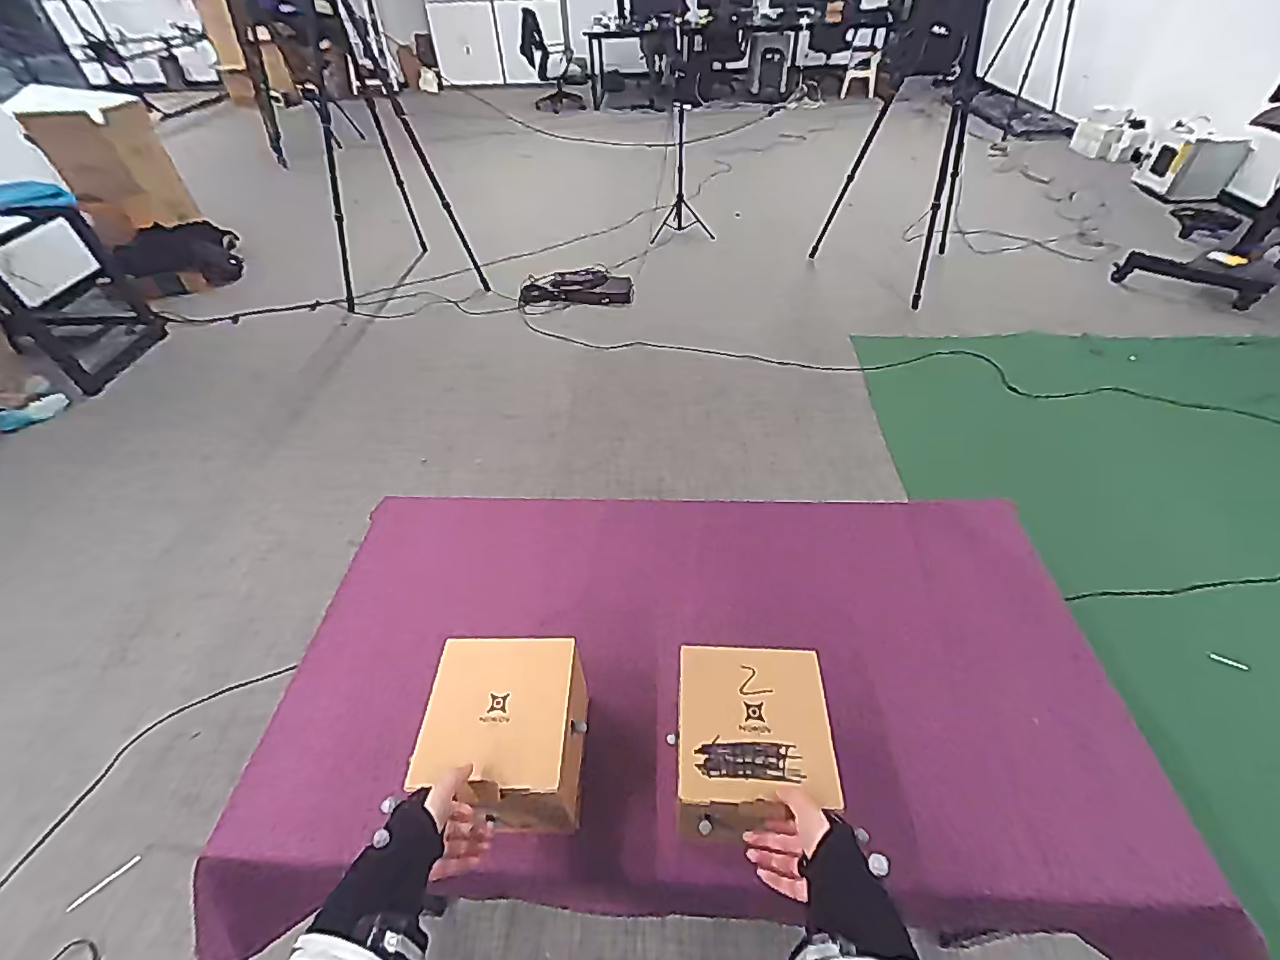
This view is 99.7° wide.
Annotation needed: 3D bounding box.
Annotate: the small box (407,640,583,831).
[{"bbox_3d":[-0.167,0.326,0.692,0.168,0.176,0.179,0,46,2],"label":"small box"}]
